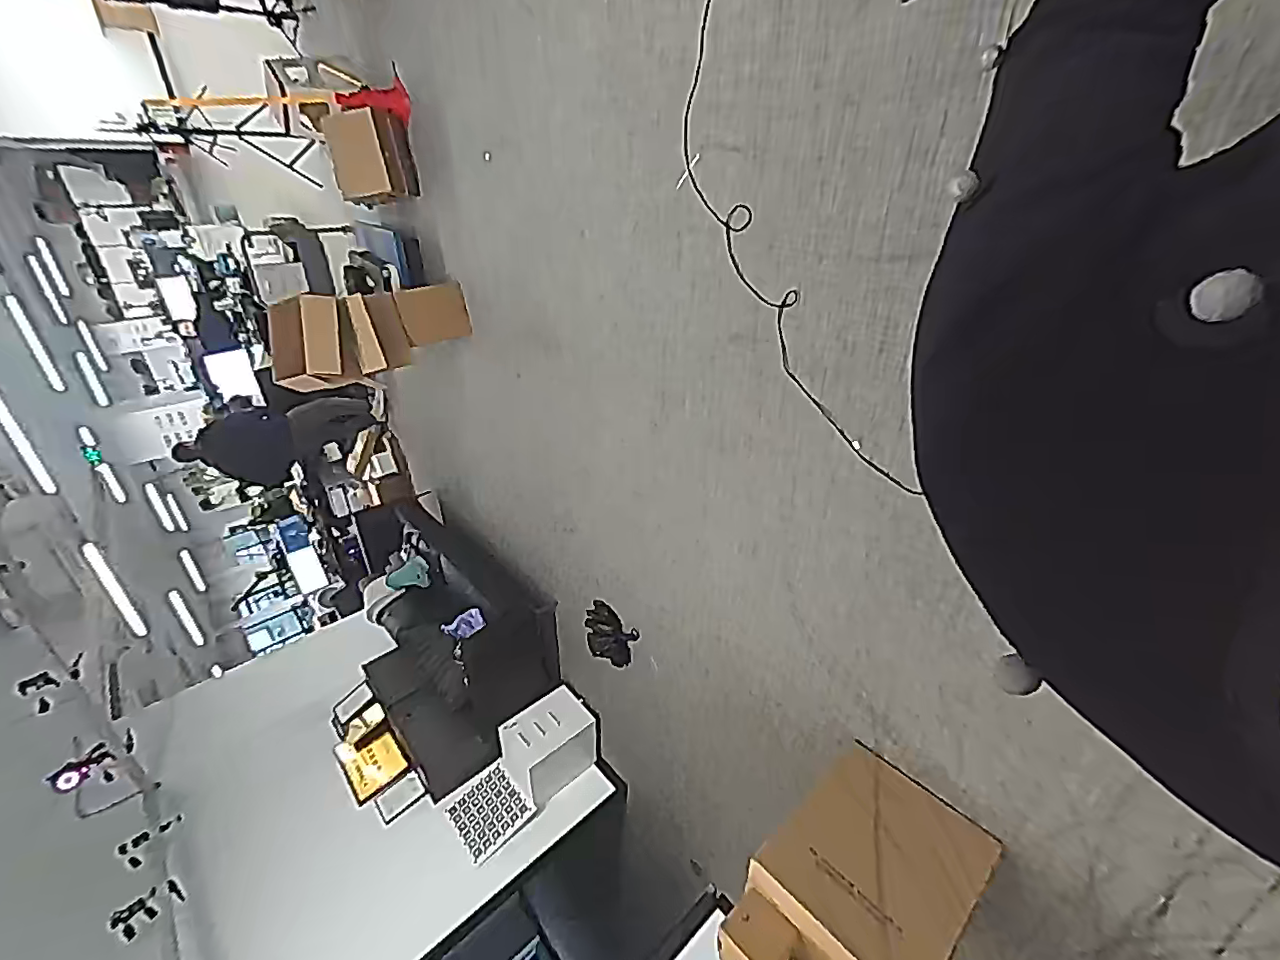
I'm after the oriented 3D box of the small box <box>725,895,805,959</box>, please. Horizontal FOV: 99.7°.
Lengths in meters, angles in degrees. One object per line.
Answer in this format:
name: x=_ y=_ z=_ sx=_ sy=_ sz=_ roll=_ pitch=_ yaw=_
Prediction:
small box: x=0.379 y=1.423 z=1.648 sx=0.179 sy=0.176 sz=0.168 roll=18 pitch=120 yaw=46
